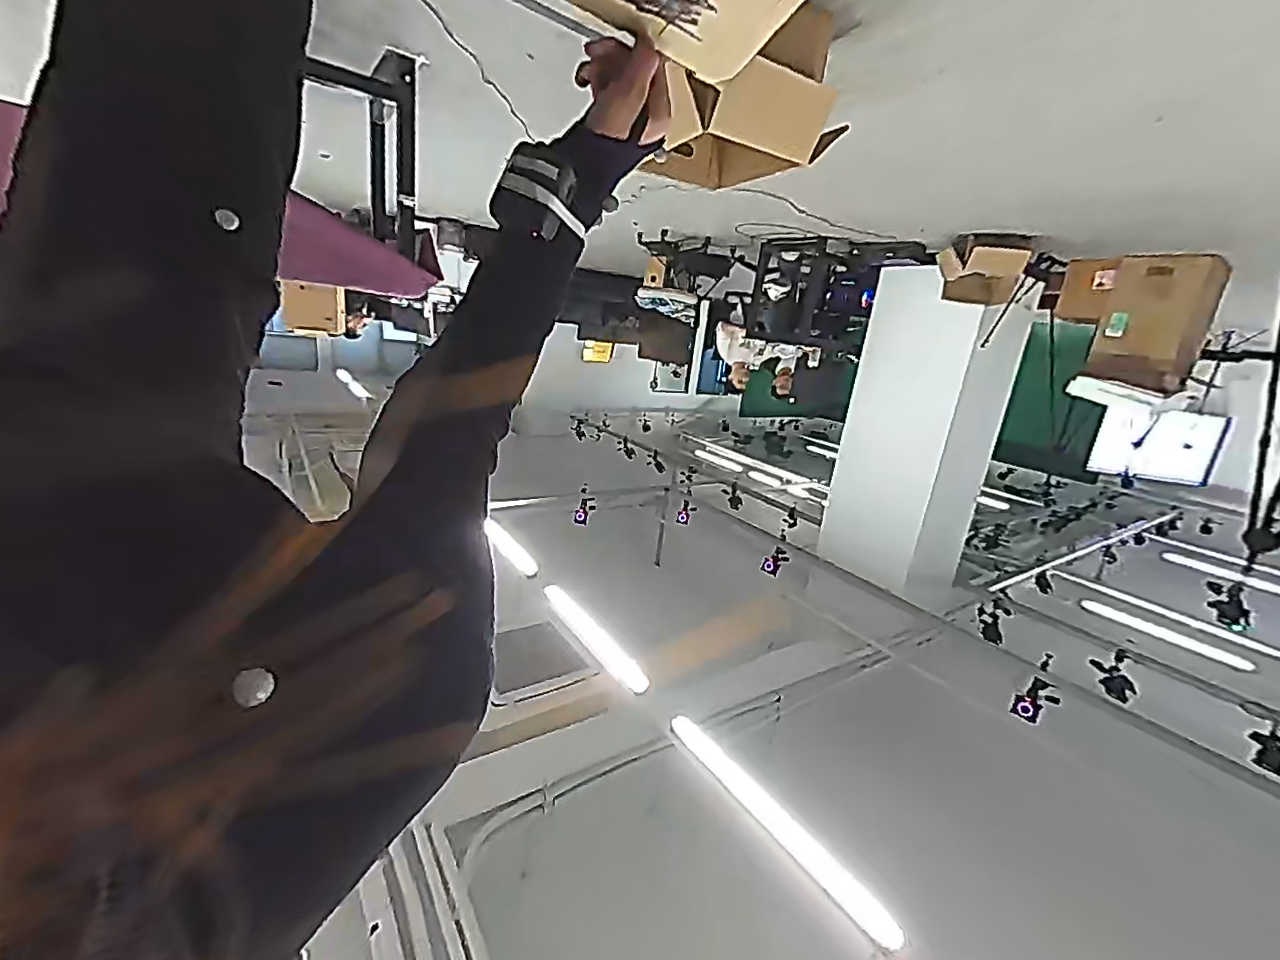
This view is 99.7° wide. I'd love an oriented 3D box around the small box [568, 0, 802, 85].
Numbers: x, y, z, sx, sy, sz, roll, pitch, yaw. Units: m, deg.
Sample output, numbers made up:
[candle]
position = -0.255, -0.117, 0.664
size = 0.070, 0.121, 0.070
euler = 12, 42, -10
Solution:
[small box]
position = 0.048, -0.443, 0.376
size = 0.168, 0.176, 0.179
euler = 3, 173, -32
